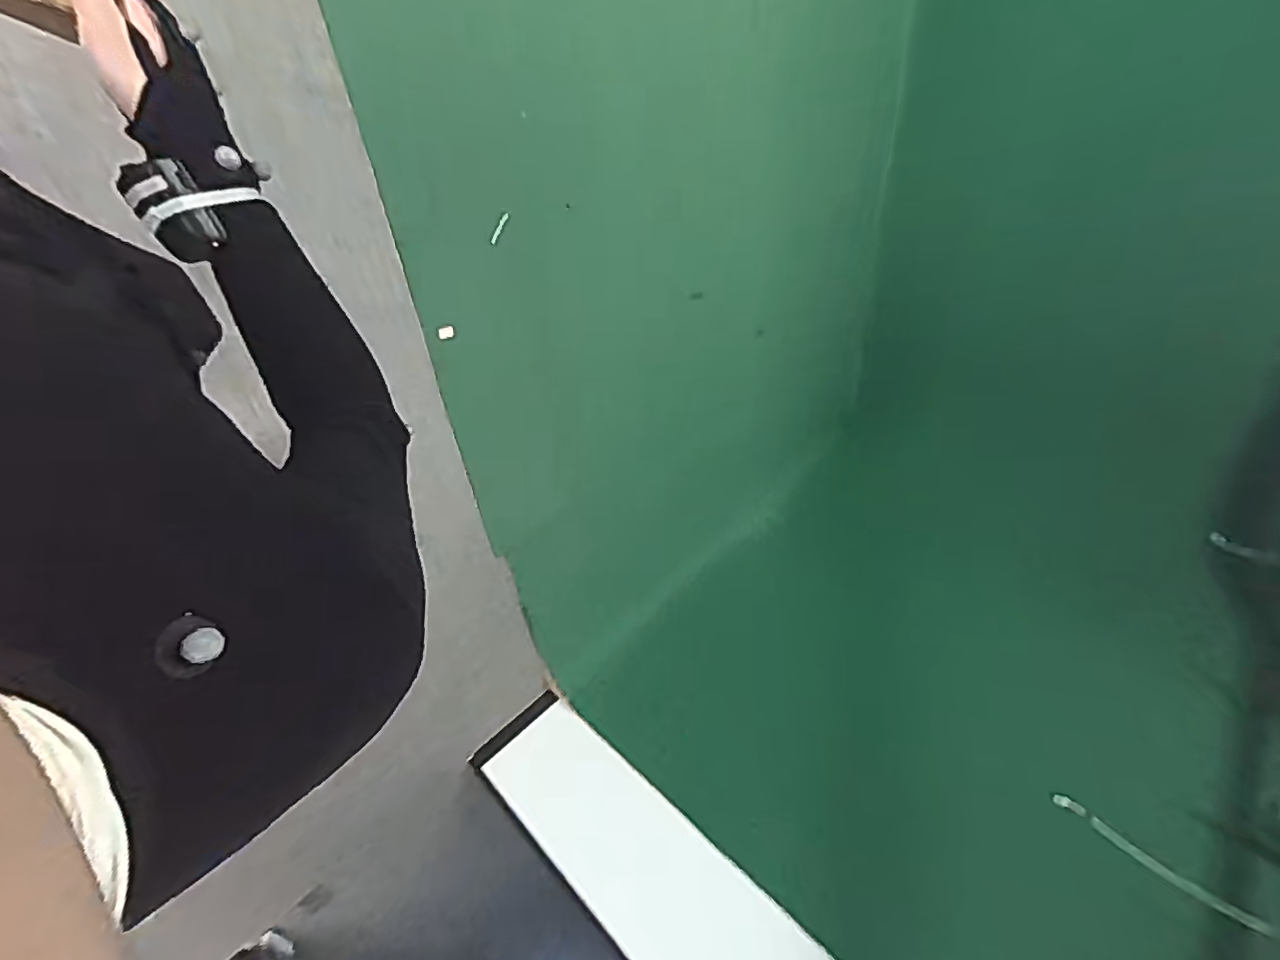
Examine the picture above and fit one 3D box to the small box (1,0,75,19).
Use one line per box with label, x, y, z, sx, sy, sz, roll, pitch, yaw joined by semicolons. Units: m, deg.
small box;-0.458;-0.424;0.323;0.168;0.176;0.179;-2;115;-46
